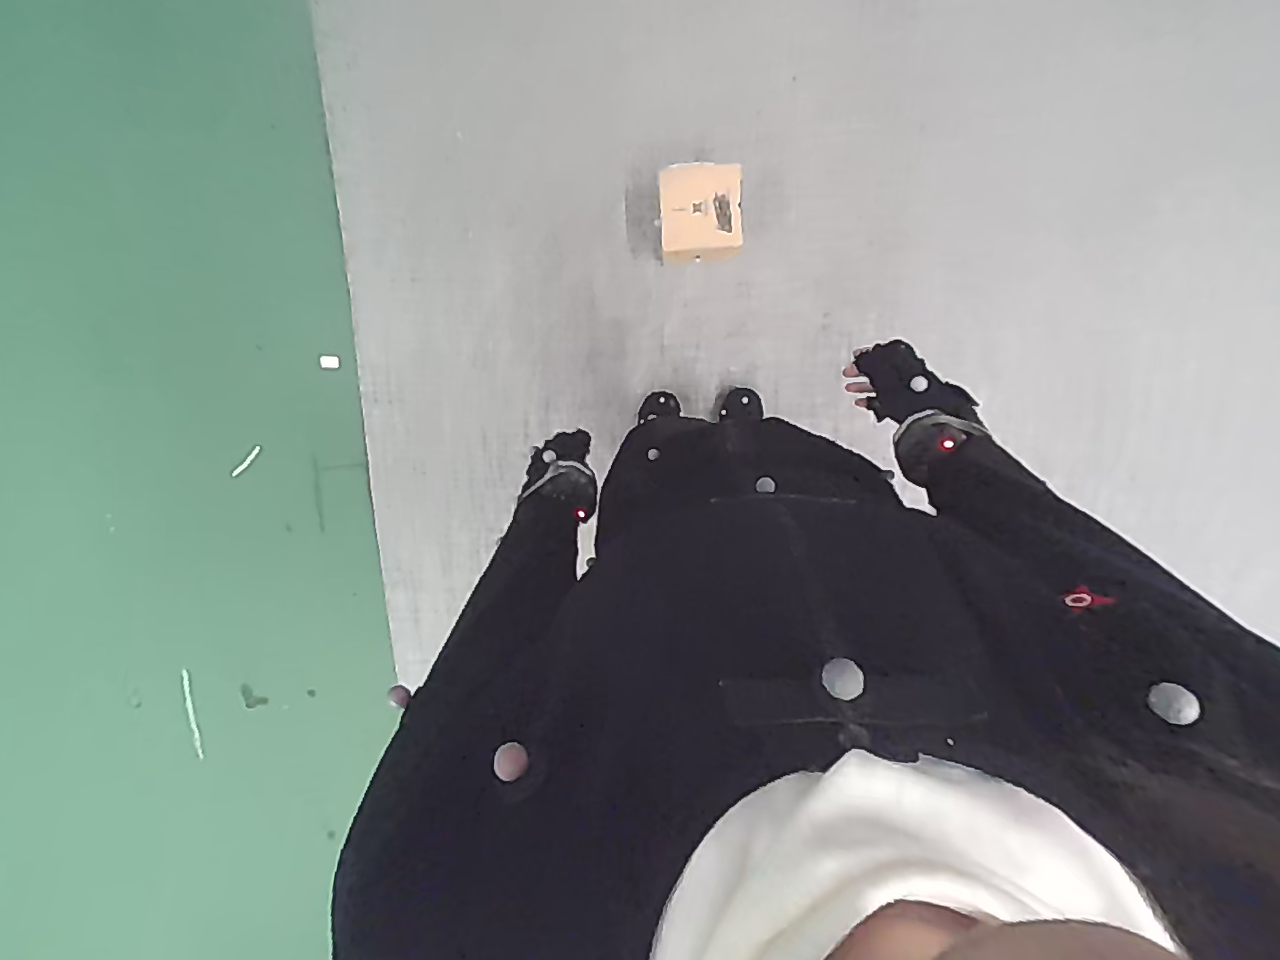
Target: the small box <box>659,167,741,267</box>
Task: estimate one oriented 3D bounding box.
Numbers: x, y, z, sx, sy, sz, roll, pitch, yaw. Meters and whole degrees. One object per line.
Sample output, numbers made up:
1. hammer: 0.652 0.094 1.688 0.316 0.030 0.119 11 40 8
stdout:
1. small box: 0.134 -0.593 1.237 0.179 0.176 0.168 -2 101 5
